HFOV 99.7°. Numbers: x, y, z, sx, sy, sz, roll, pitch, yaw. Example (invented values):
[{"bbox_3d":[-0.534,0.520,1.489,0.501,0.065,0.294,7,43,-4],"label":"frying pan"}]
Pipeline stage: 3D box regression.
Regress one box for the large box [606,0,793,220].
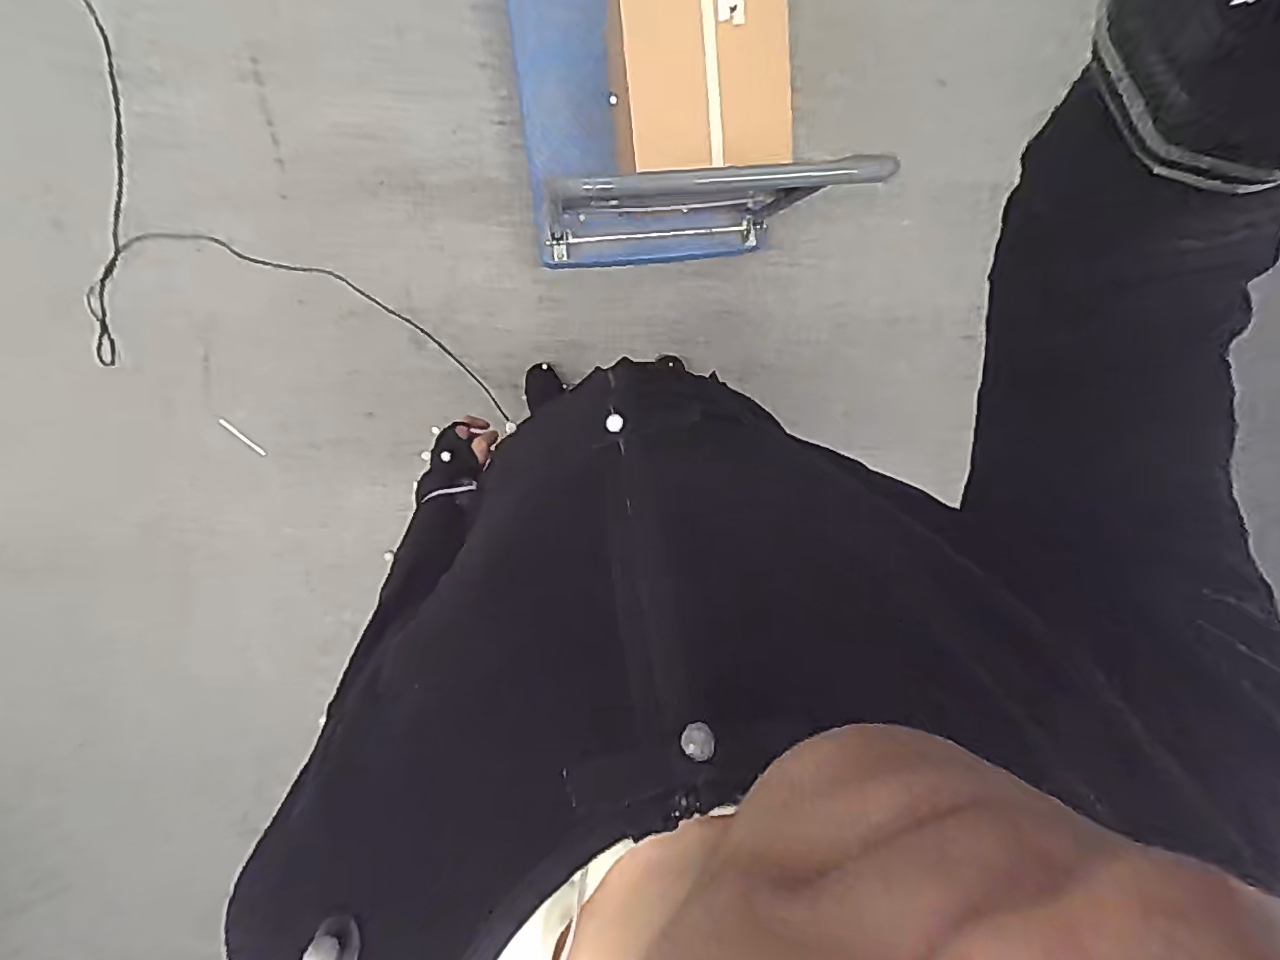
[{"bbox_3d":[0.108,-0.815,1.145,0.320,0.320,0.408,-8,103,-6],"label":"large box"}]
